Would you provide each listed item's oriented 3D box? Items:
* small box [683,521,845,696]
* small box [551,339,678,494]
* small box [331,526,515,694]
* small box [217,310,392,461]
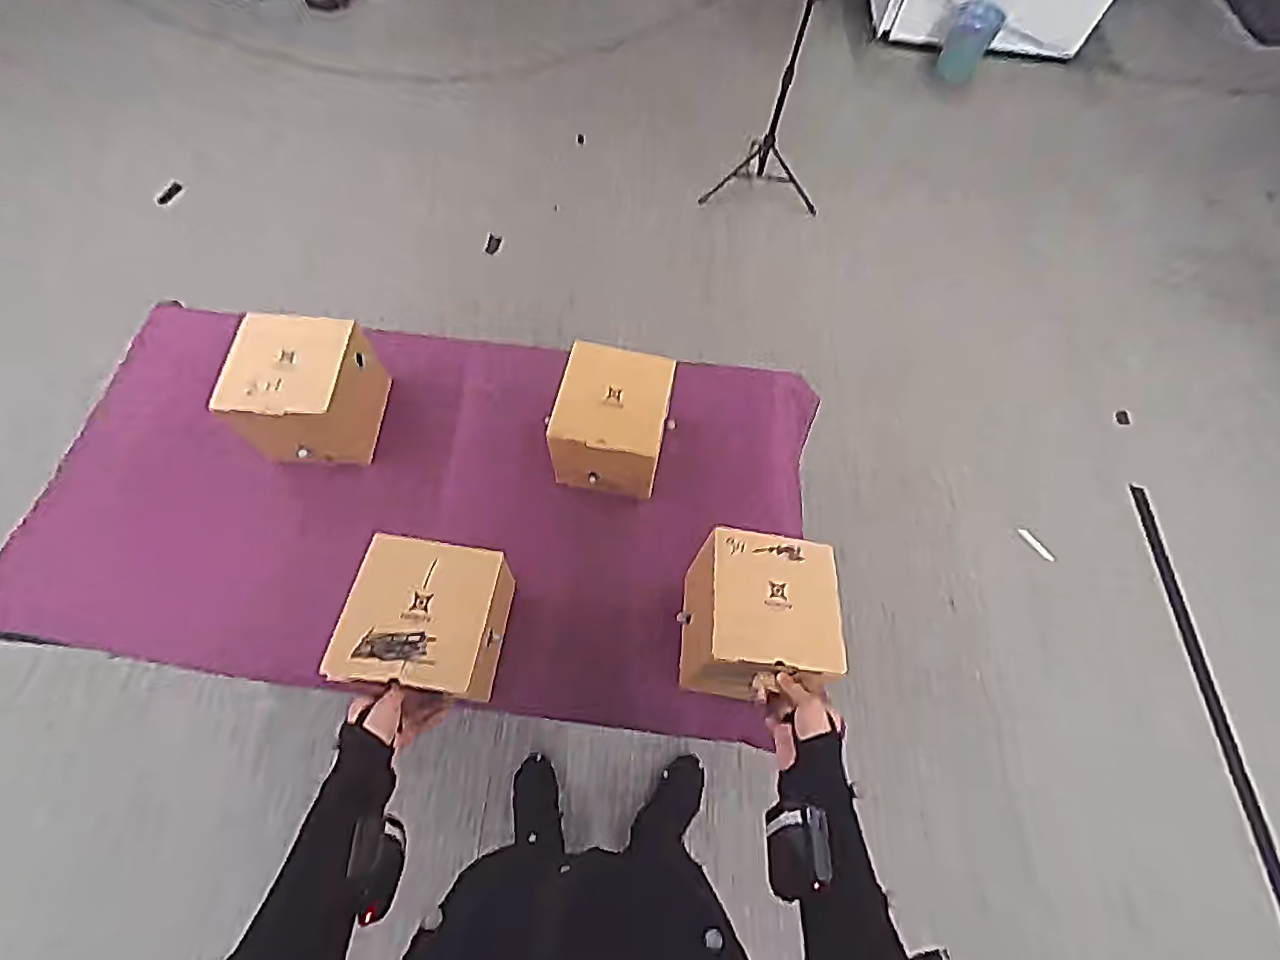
[{"bbox_3d":[0.158,0.182,0.737,0.168,0.176,0.179,11,57,-4],"label":"small box"},{"bbox_3d":[-0.041,-0.099,0.892,0.168,0.176,0.179,11,66,2],"label":"small box"},{"bbox_3d":[-0.271,0.182,0.725,0.168,0.176,0.179,10,64,-3],"label":"small box"},{"bbox_3d":[-0.526,-0.149,0.881,0.168,0.176,0.179,3,66,-3],"label":"small box"}]
